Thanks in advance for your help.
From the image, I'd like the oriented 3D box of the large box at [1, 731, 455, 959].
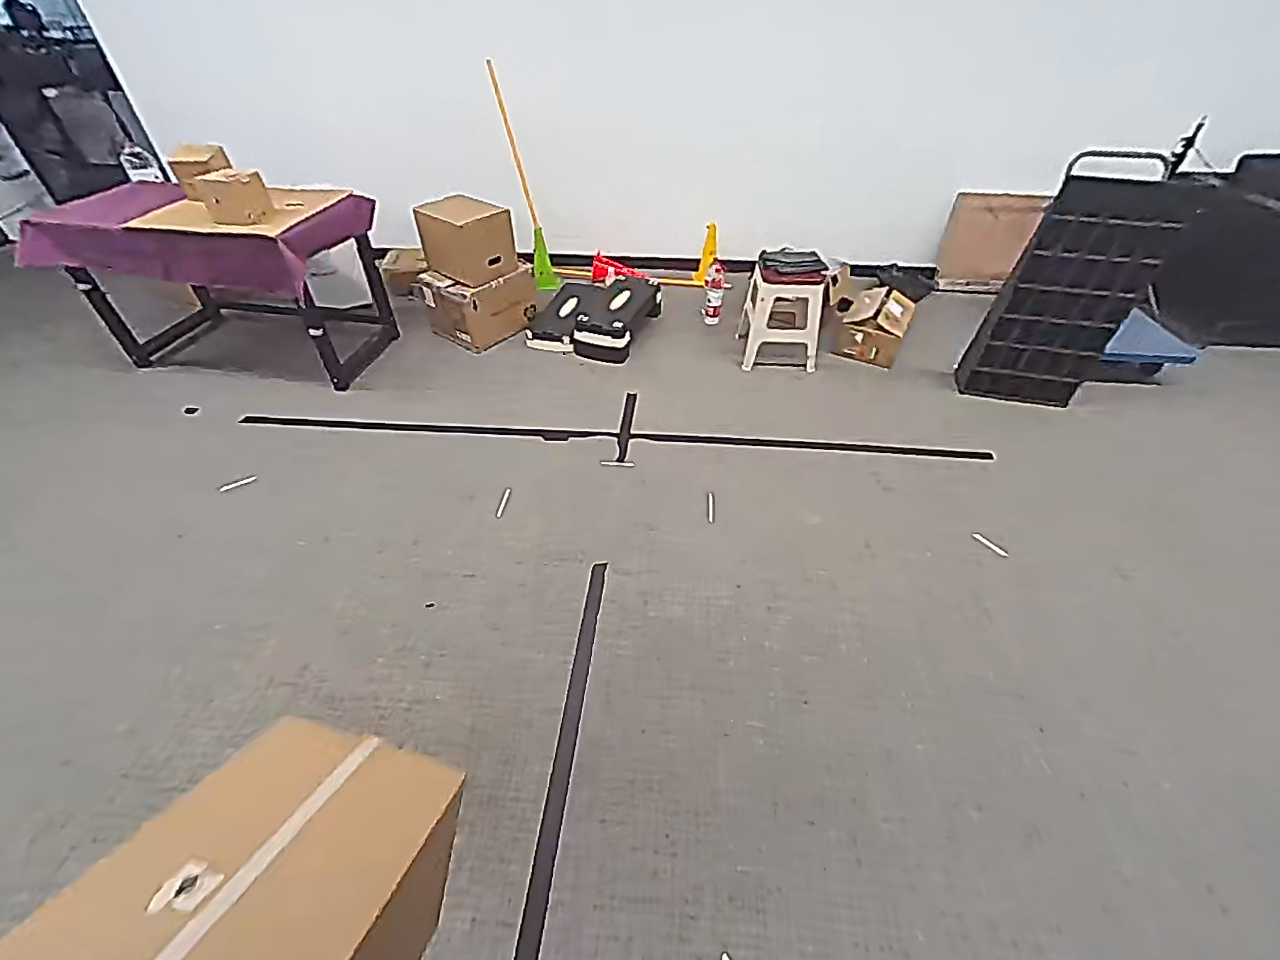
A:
[{"bbox_3d":[-0.490,0.617,0.696,0.320,0.320,0.408,14,12,5],"label":"large box"}]
